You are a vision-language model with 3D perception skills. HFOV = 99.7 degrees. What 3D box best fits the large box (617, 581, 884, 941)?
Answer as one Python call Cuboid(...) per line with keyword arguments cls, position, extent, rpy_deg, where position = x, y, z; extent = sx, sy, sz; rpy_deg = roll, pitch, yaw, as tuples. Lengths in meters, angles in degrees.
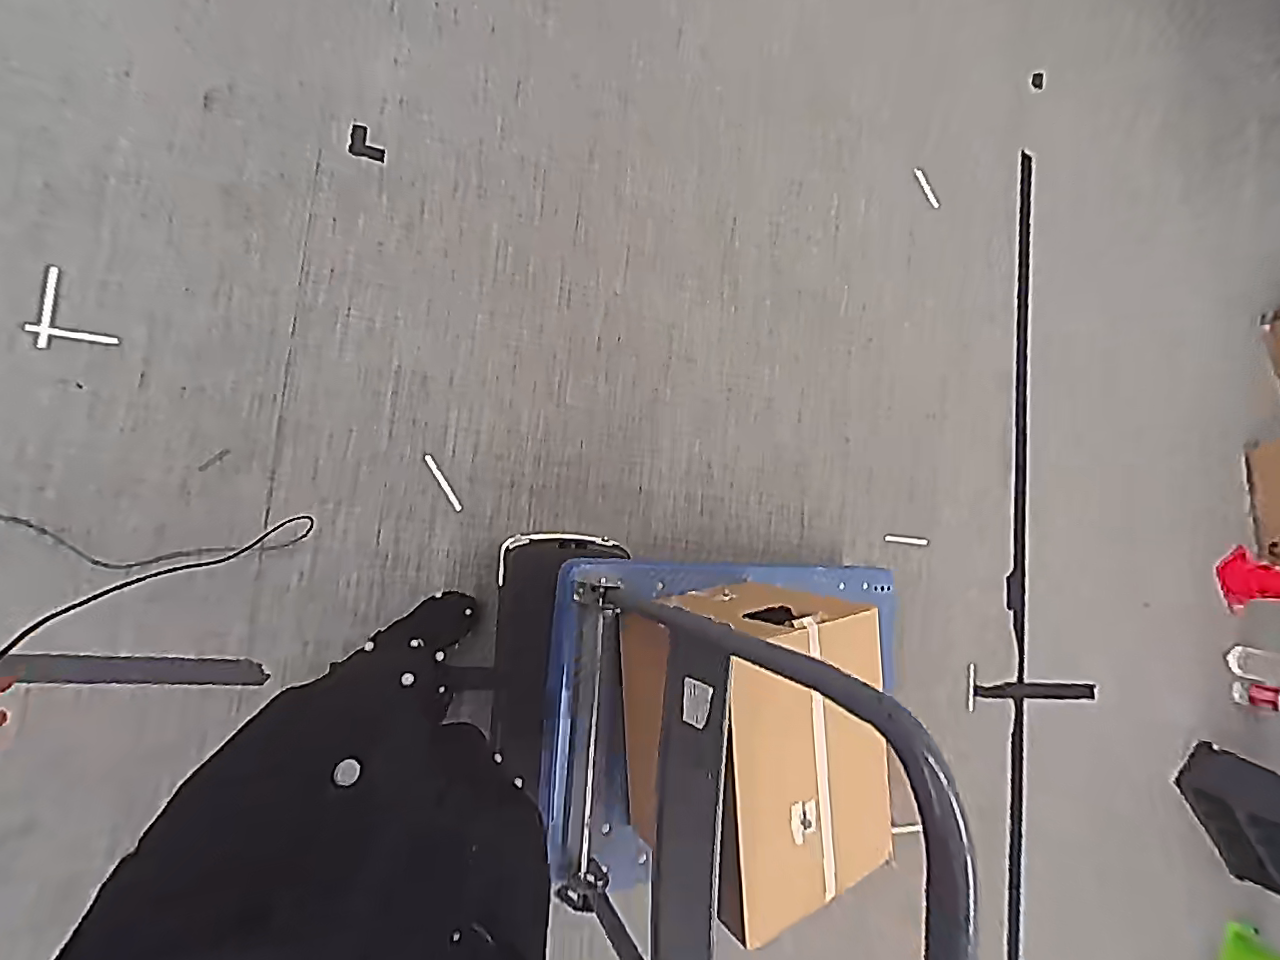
Cuboid(cls="large box", position=(0.175, 0.412, 0.920), extent=(0.320, 0.320, 0.408), rpy_deg=(-3, 91, -30))
